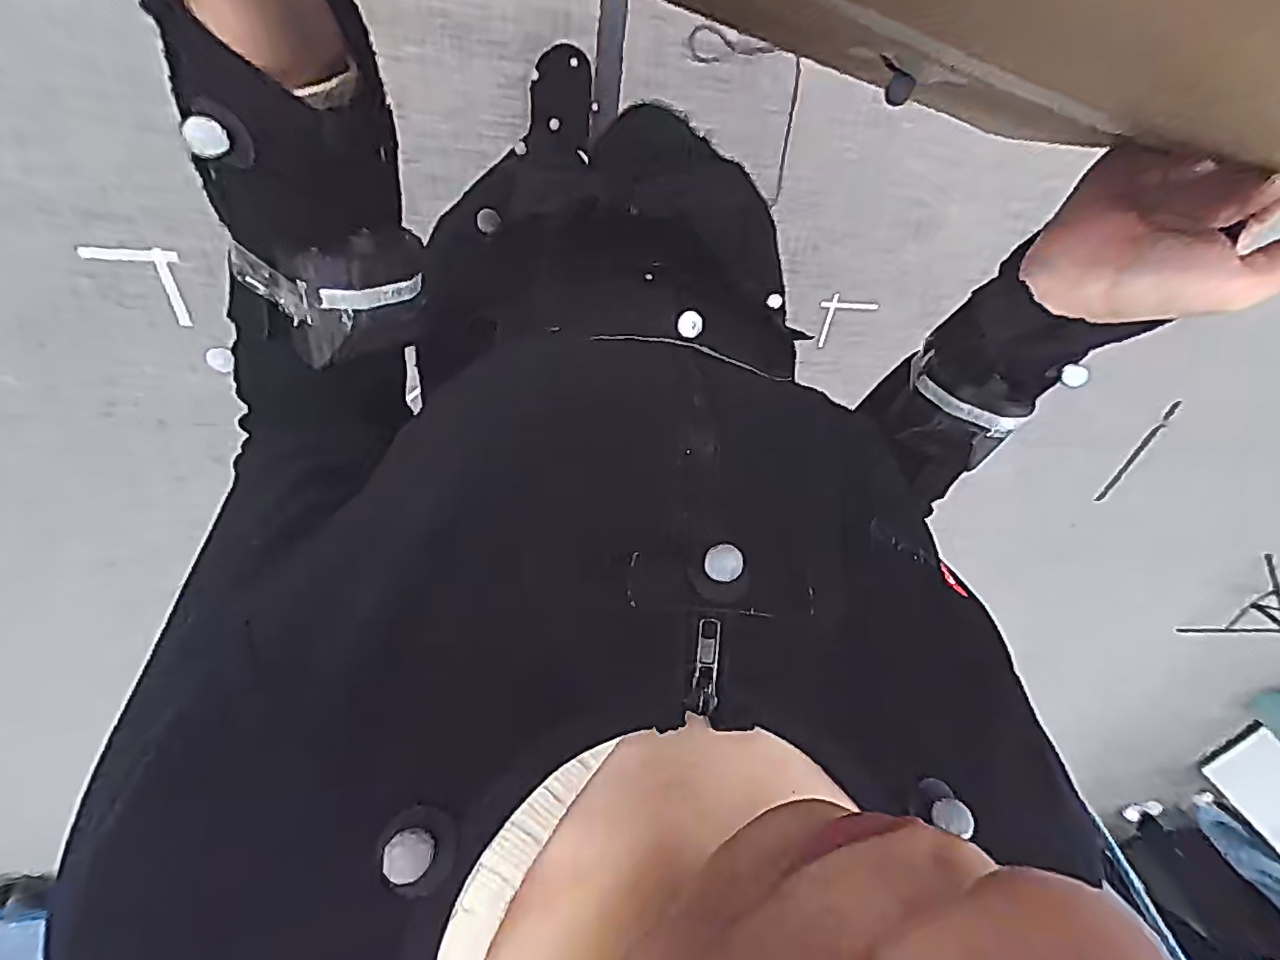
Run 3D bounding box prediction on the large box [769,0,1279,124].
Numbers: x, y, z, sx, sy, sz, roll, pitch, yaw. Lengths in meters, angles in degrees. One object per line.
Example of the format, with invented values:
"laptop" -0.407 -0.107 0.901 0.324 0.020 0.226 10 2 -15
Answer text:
"large box" 0.108 -0.306 0.096 0.408 0.320 0.320 8 126 -15
